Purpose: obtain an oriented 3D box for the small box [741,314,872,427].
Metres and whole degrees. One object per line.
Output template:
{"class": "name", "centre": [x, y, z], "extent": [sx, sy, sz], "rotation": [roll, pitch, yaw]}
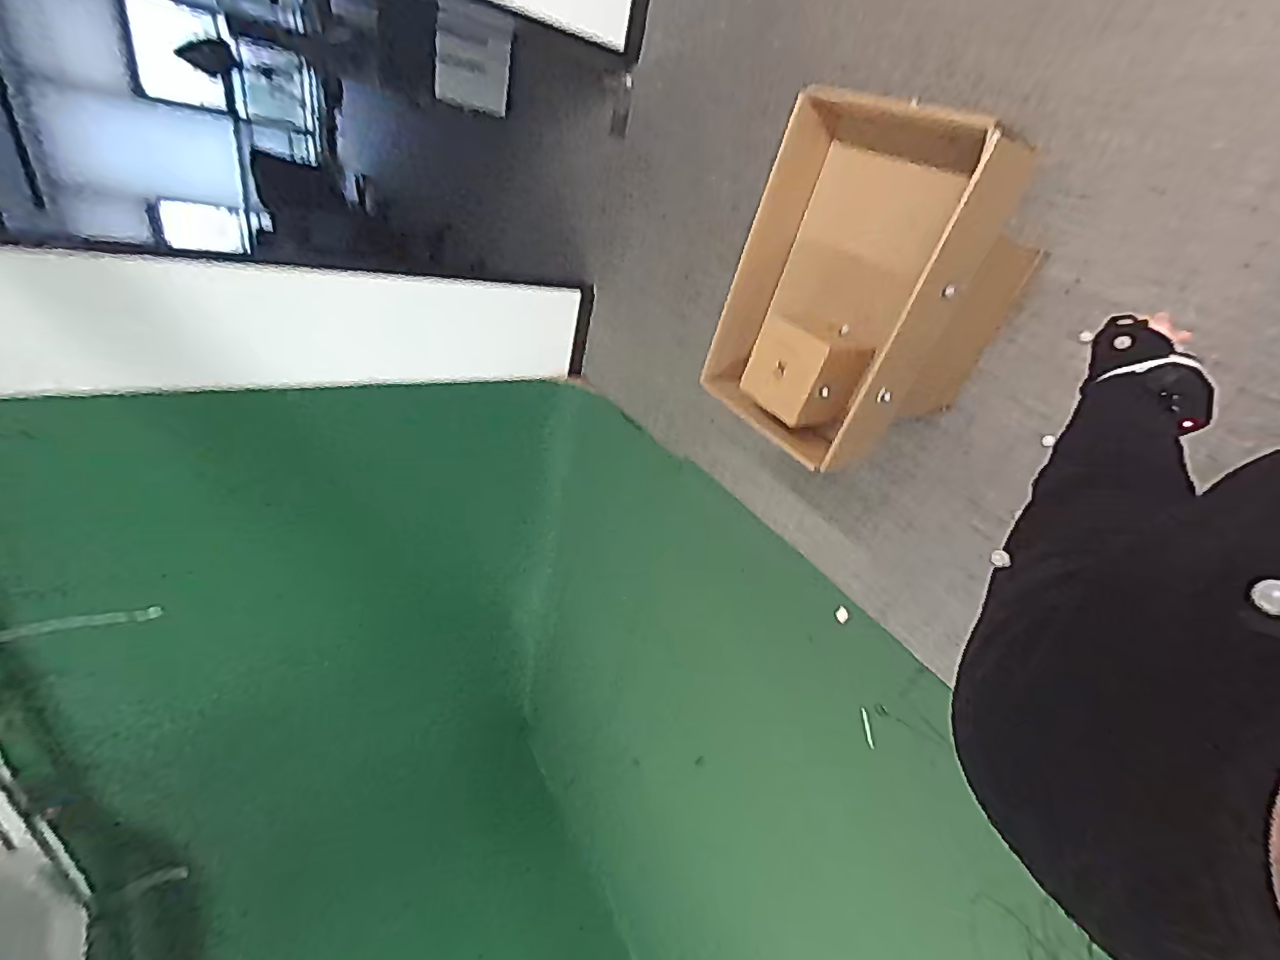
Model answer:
{"class": "small box", "centre": [0.351, -0.234, 1.140], "extent": [0.168, 0.176, 0.179], "rotation": [47, 134, 37]}
